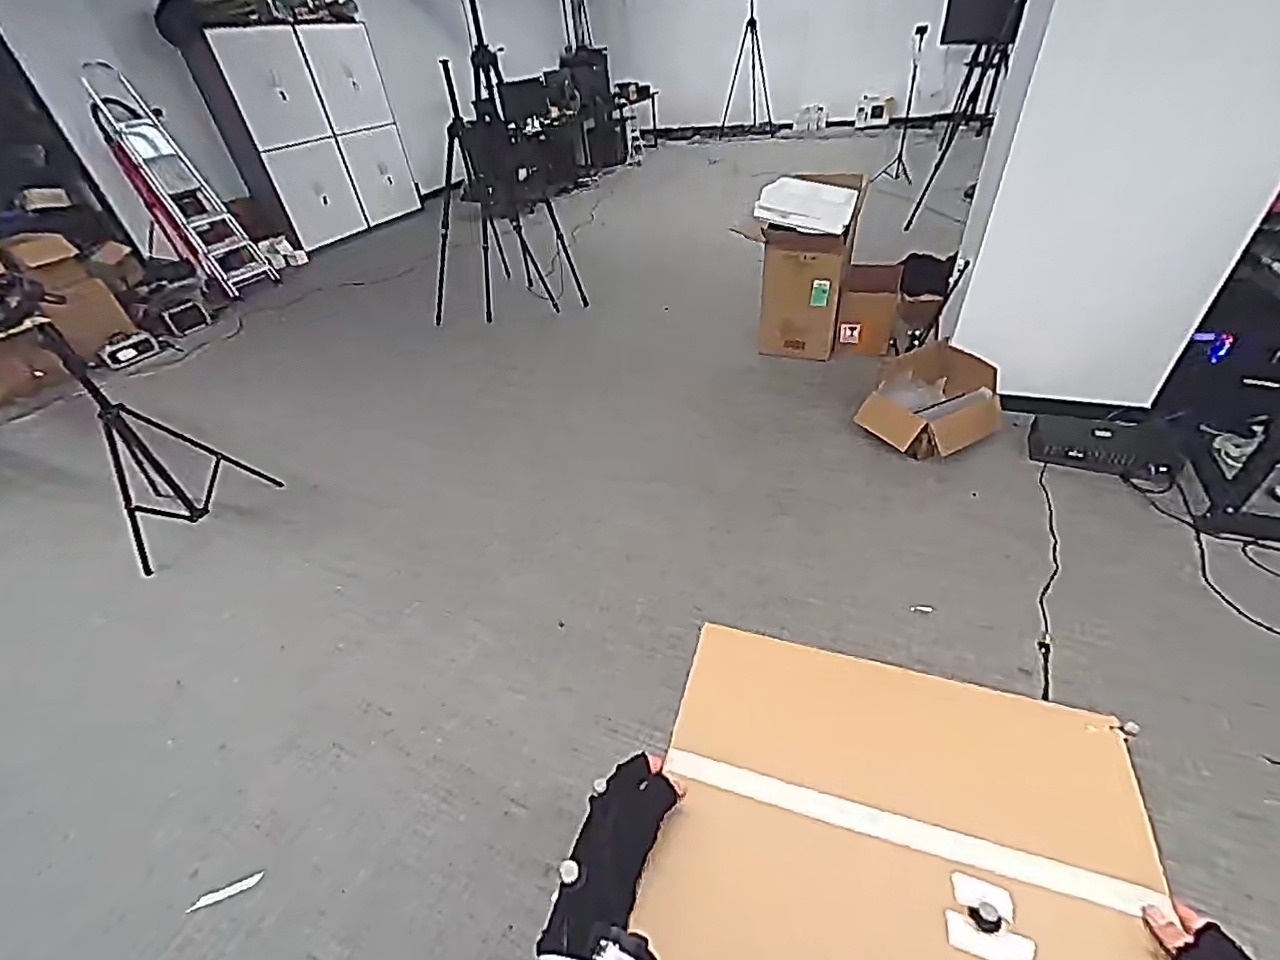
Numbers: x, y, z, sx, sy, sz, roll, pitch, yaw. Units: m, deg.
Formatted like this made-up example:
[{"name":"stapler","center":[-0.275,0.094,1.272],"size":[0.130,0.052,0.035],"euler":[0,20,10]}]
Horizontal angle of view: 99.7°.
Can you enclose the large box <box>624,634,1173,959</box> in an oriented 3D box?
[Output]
[{"name":"large box","center":[0.227,0.416,0.577],"size":[0.408,0.320,0.320],"euler":[9,46,16]}]
